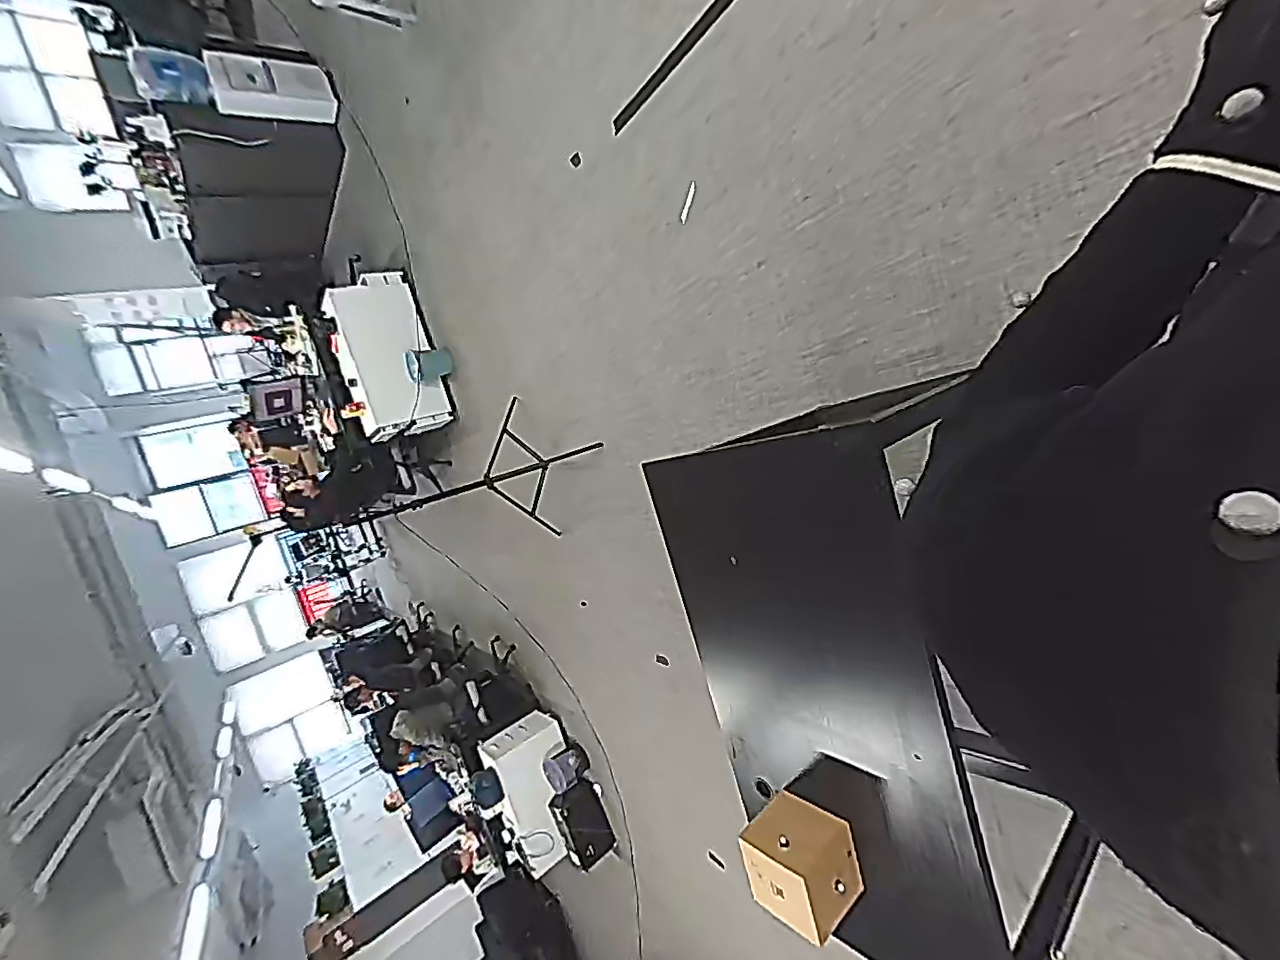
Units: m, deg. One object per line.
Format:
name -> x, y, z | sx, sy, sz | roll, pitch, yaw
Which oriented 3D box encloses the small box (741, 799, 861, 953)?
small box -> 0.350, 0.827, 1.156 | 0.179, 0.176, 0.168 | -5, 102, 54
